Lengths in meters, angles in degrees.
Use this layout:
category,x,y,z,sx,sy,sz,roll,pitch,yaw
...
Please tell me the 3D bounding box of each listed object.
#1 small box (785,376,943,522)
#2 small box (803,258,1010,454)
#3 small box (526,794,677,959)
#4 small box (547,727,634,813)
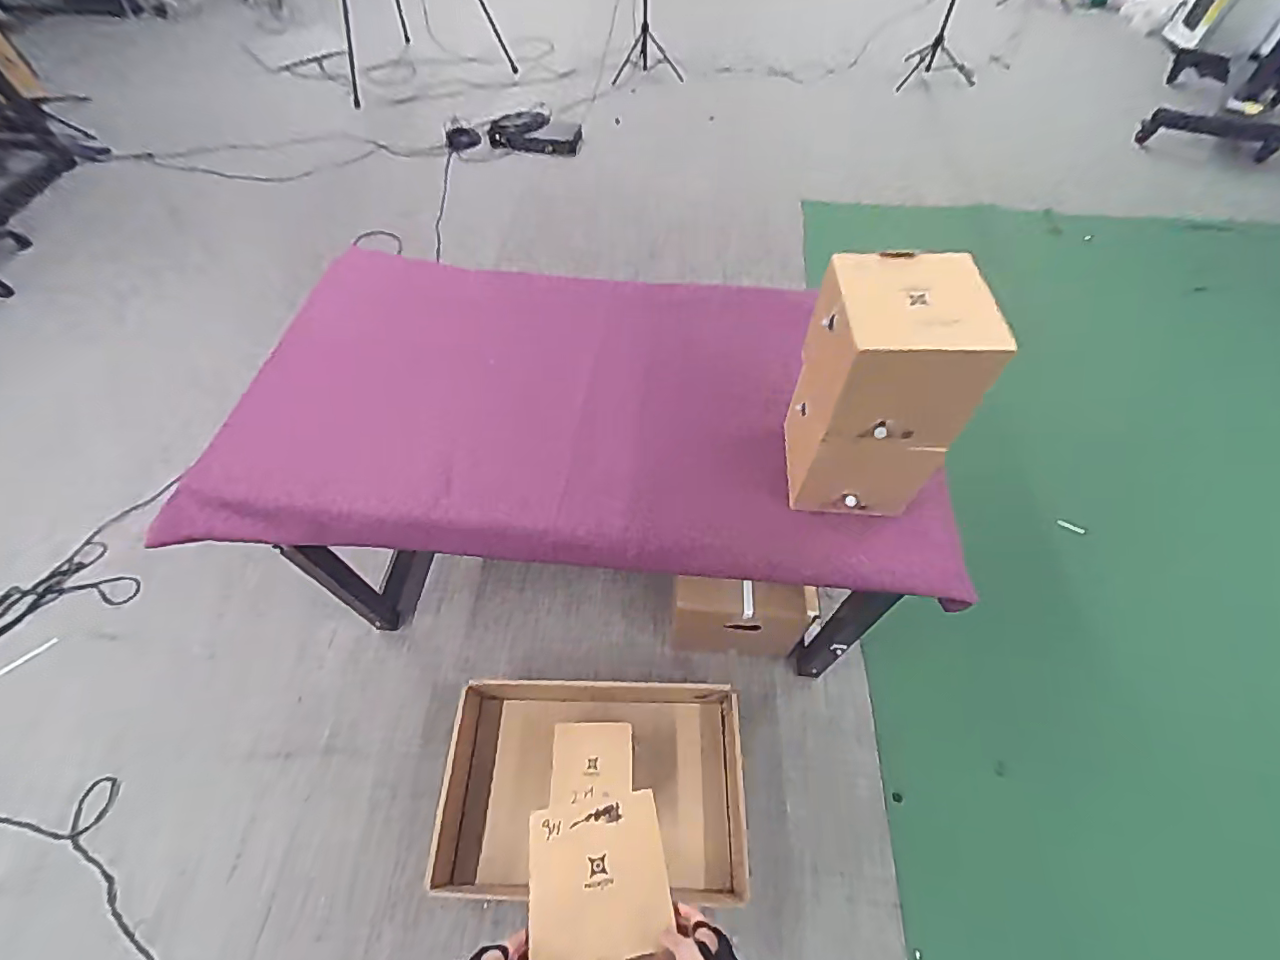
category,x,y,z,sx,sy,sz,roll,pitch,yaw
small box,0.319,-0.059,0.814,0.168,0.176,0.179,4,55,4
small box,0.312,-0.155,0.682,0.168,0.176,0.179,1,54,3
small box,-0.046,0.537,0.680,0.168,0.176,0.179,-7,34,-6
small box,-0.099,0.639,1.158,0.168,0.176,0.179,0,57,1
